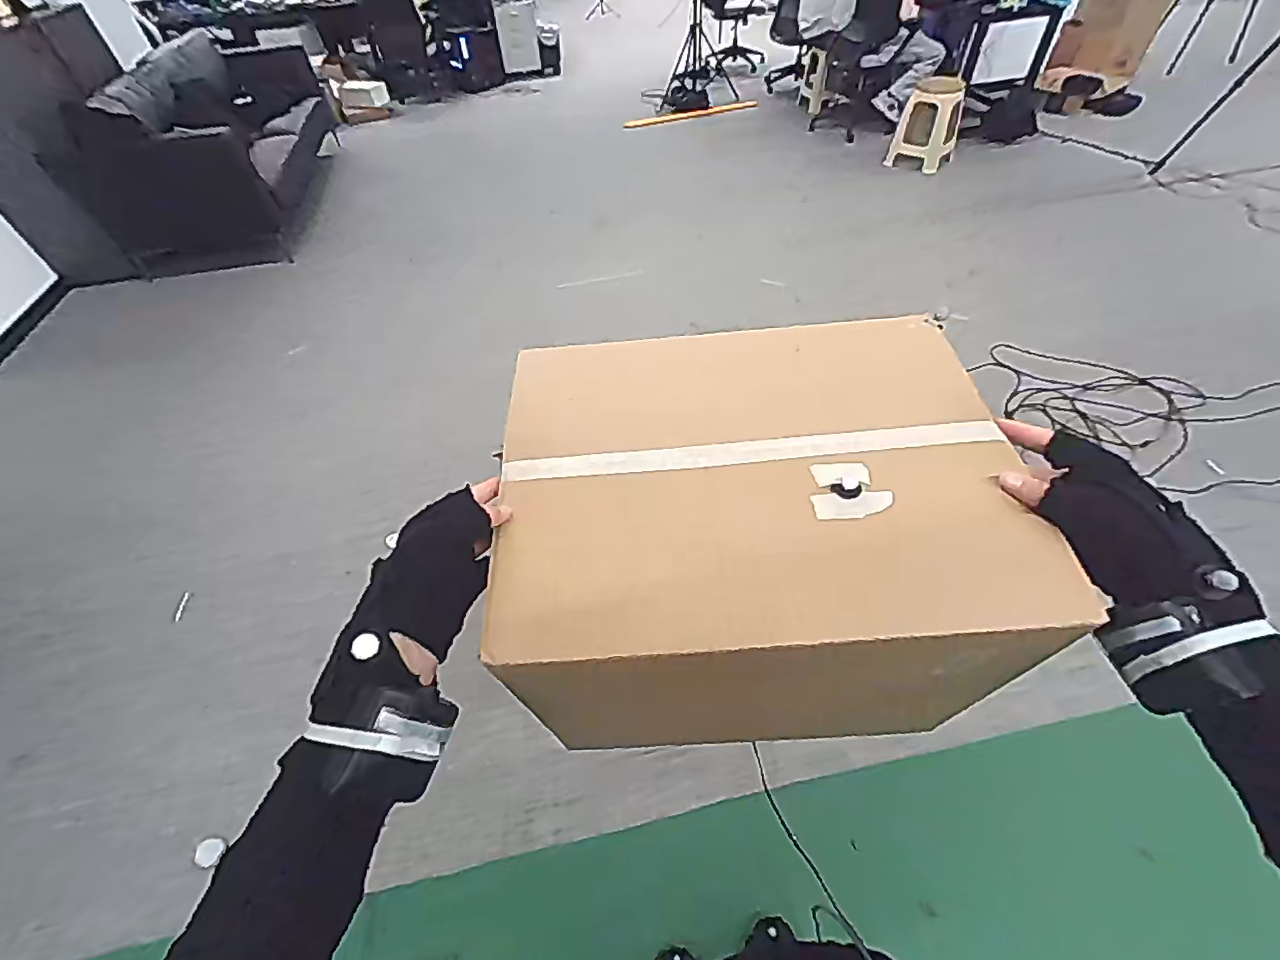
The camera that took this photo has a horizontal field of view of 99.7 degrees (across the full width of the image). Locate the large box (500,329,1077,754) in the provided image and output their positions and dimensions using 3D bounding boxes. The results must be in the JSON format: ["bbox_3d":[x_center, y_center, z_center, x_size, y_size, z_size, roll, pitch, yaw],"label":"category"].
[{"bbox_3d":[0.100,0.079,0.573,0.408,0.320,0.320,-5,54,2],"label":"large box"}]
